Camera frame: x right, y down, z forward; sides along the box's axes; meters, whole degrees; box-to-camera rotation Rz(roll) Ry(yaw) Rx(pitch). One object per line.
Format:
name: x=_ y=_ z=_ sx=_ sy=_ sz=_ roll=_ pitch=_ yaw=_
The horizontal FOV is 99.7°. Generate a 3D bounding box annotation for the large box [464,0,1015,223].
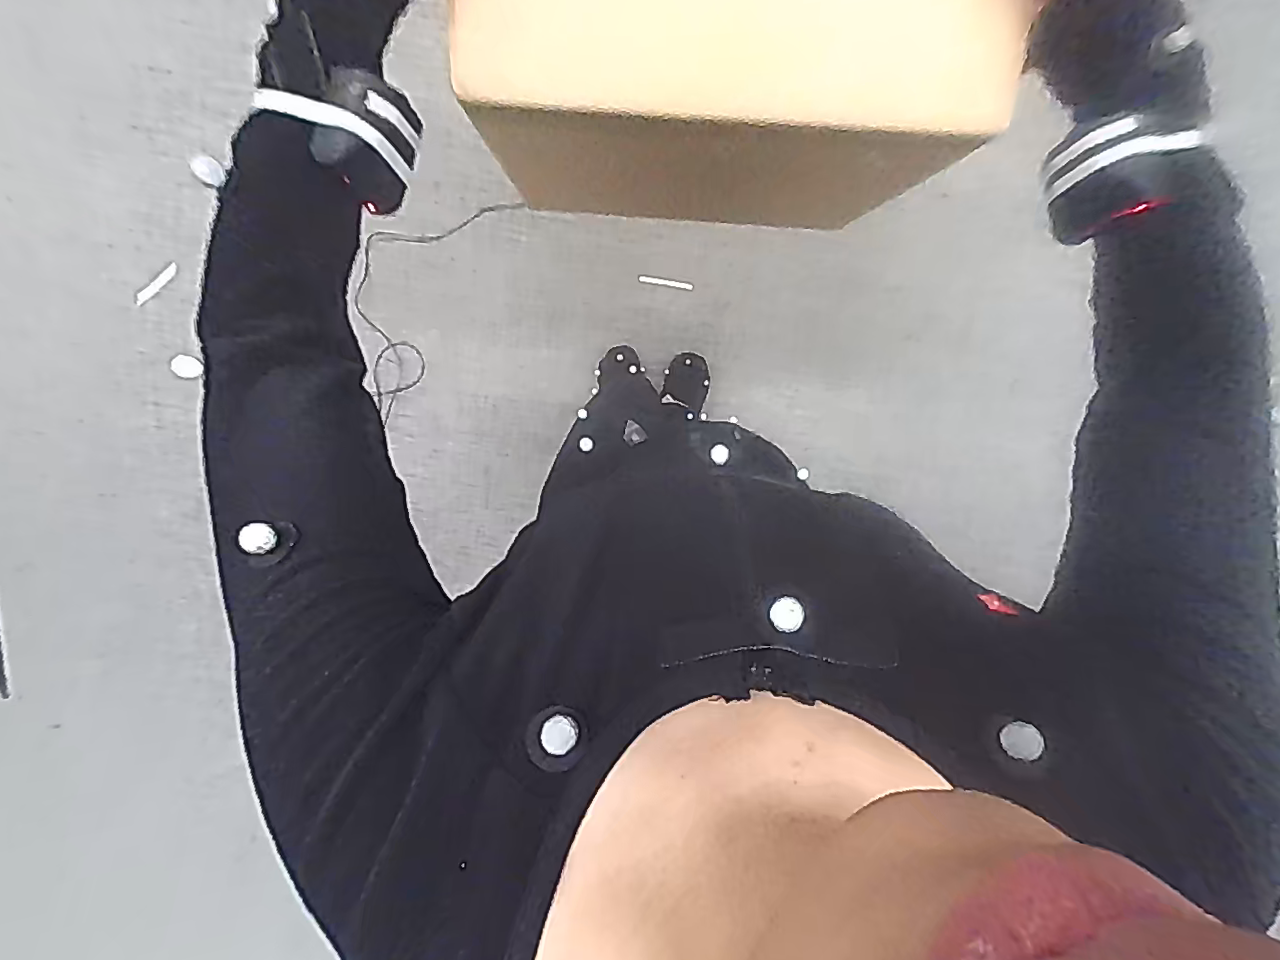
large box: x=0.069 y=-0.451 z=0.512 sx=0.408 sy=0.320 sz=0.320 roll=2 pitch=103 yaw=-3
